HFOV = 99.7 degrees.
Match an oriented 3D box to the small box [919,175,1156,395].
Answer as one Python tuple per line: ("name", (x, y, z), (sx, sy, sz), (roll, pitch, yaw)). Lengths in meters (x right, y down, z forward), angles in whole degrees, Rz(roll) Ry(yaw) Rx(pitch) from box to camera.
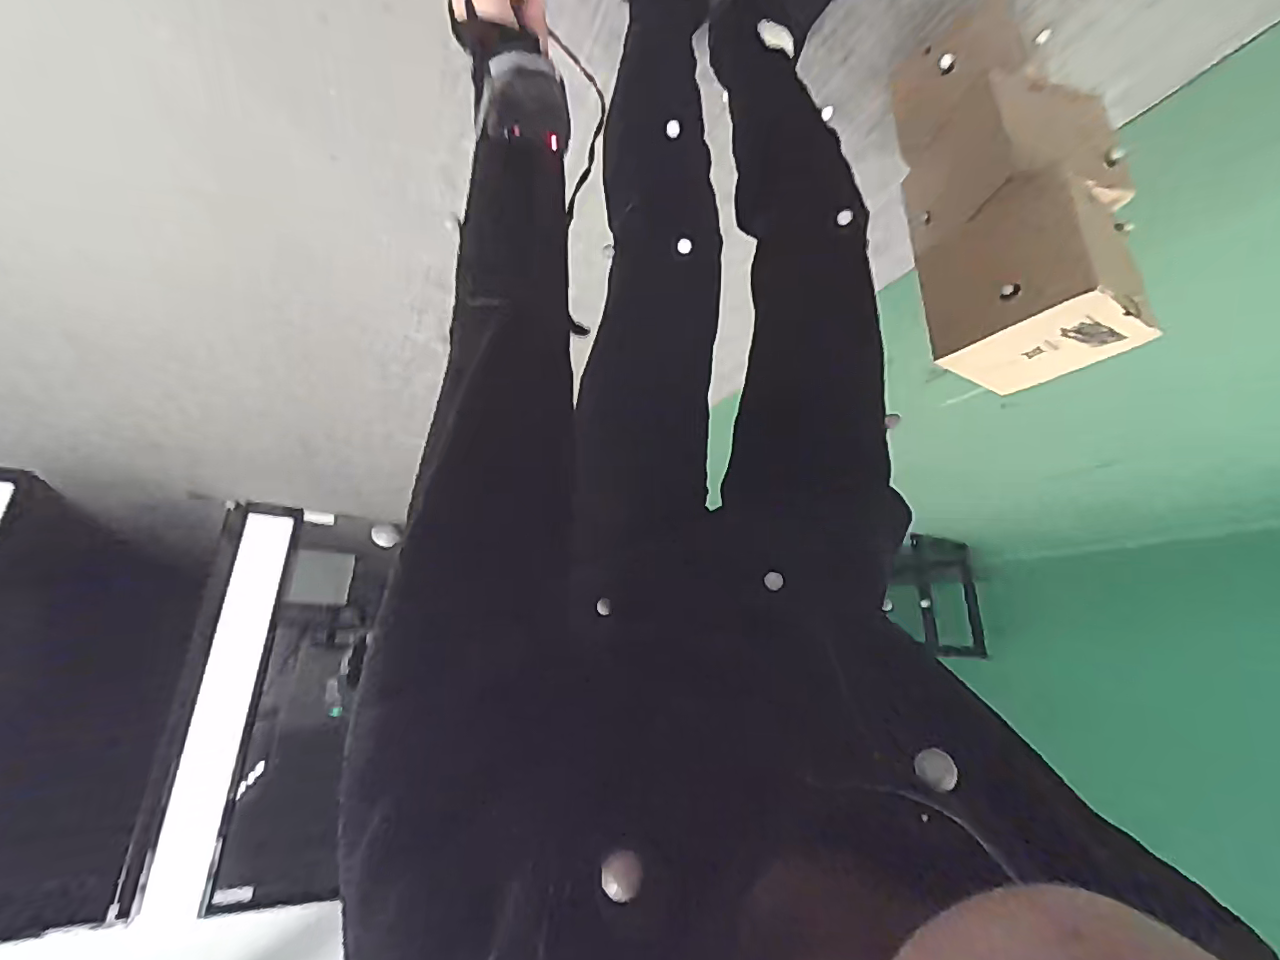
("small box", (0.483, -0.233, 0.678), (0.168, 0.176, 0.179), (12, 158, -29))

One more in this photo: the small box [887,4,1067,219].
("small box", (0.488, -0.540, 0.798), (0.179, 0.176, 0.168), (17, 155, -36))
